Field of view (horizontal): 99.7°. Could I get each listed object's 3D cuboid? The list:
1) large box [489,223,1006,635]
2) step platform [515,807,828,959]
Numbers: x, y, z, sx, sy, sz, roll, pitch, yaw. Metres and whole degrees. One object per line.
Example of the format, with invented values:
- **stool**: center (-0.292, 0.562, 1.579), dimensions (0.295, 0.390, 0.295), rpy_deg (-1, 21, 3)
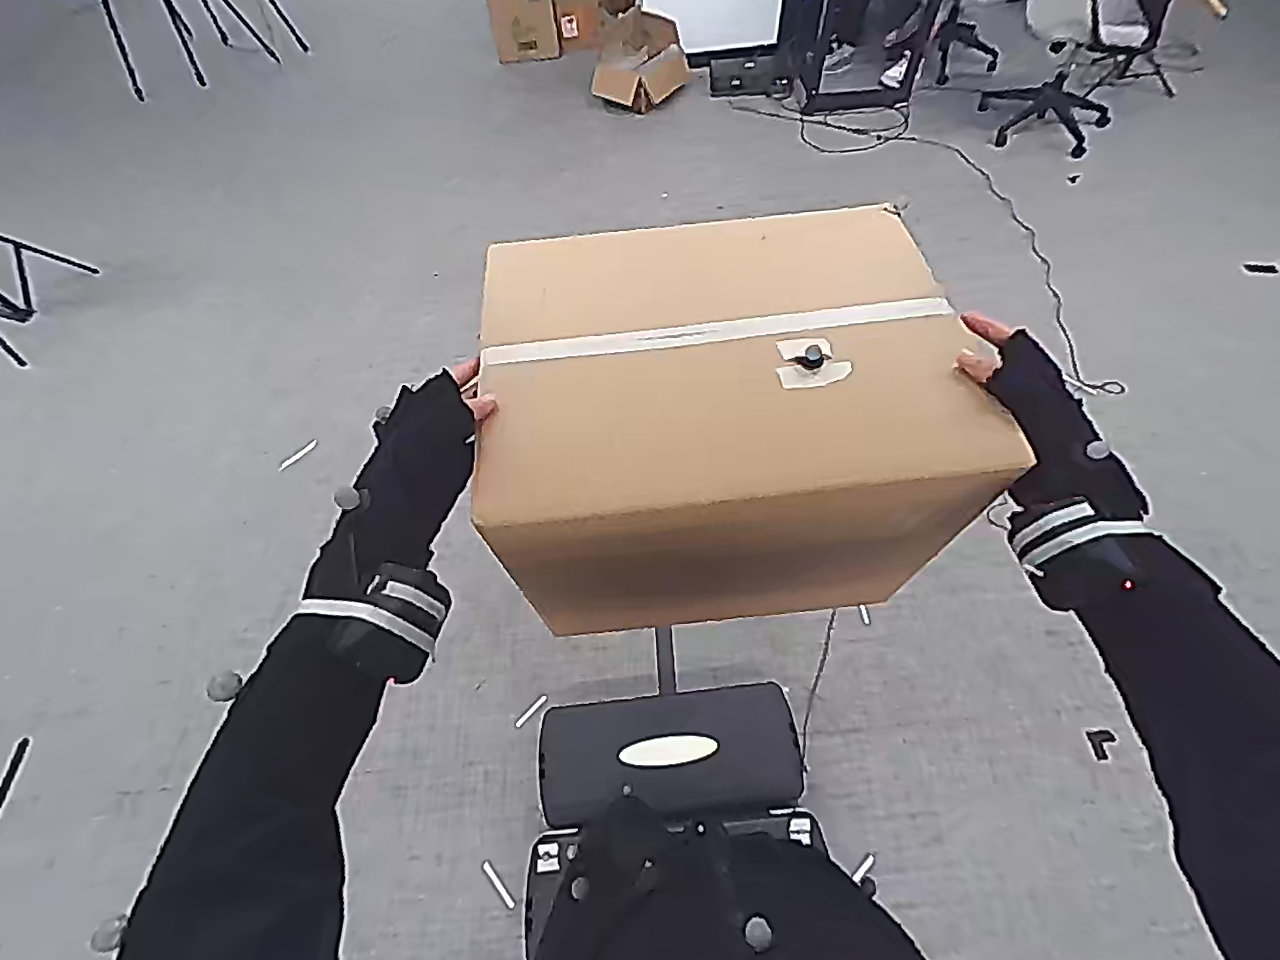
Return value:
- **large box**: center (0.071, -0.039, 0.606), dimensions (0.408, 0.320, 0.320), rpy_deg (-6, 60, -1)
- **step platform**: center (0.065, 0.940, 1.231), dimensions (0.684, 0.204, 0.286), rpy_deg (-7, 59, 1)
